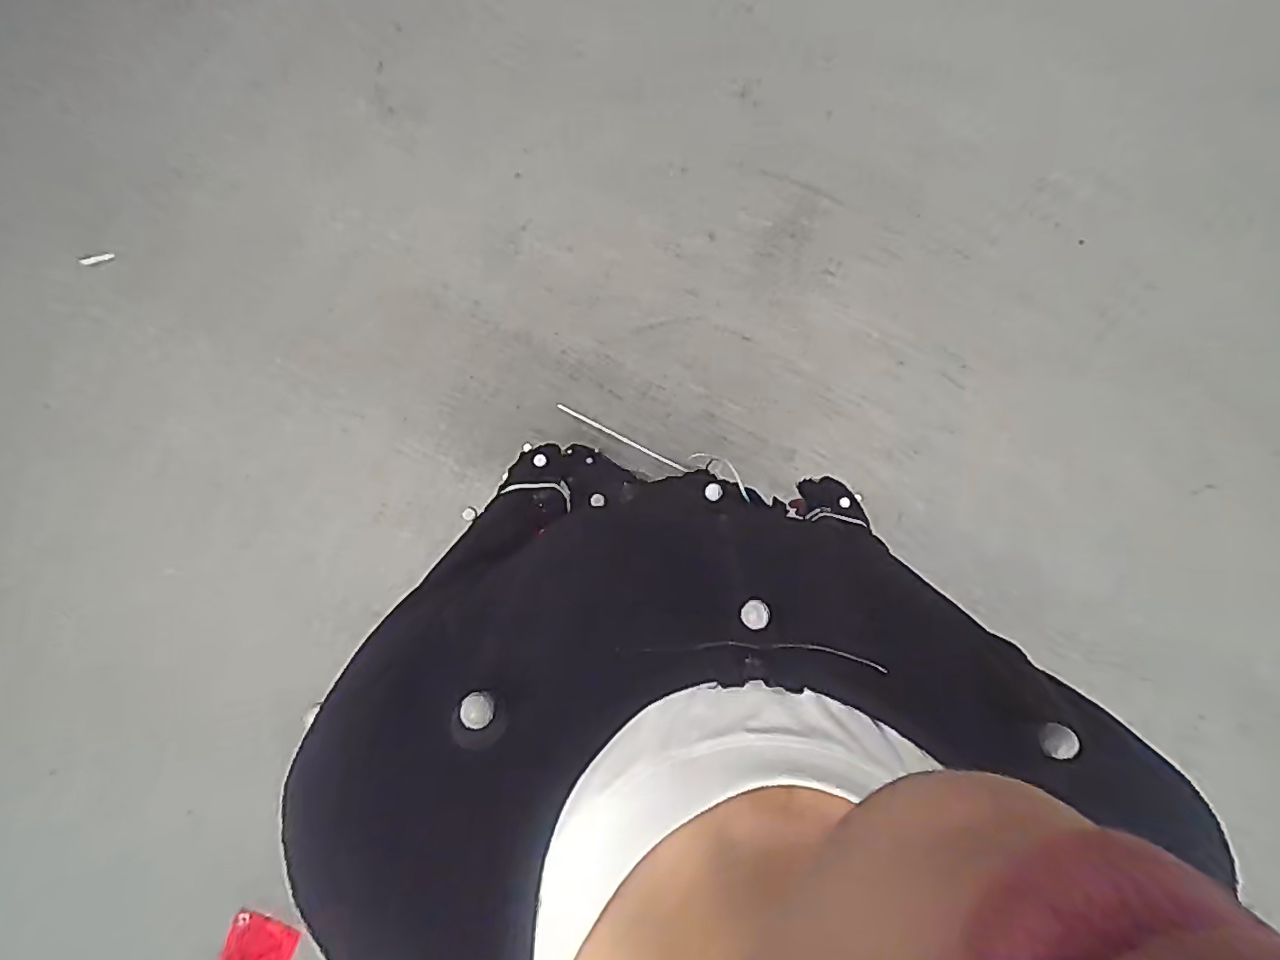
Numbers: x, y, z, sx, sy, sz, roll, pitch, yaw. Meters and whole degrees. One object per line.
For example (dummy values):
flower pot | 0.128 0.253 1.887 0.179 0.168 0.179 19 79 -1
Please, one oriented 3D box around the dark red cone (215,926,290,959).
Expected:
dark red cone | -1.127 1.408 1.395 0.202 0.394 0.201 22 95 0
